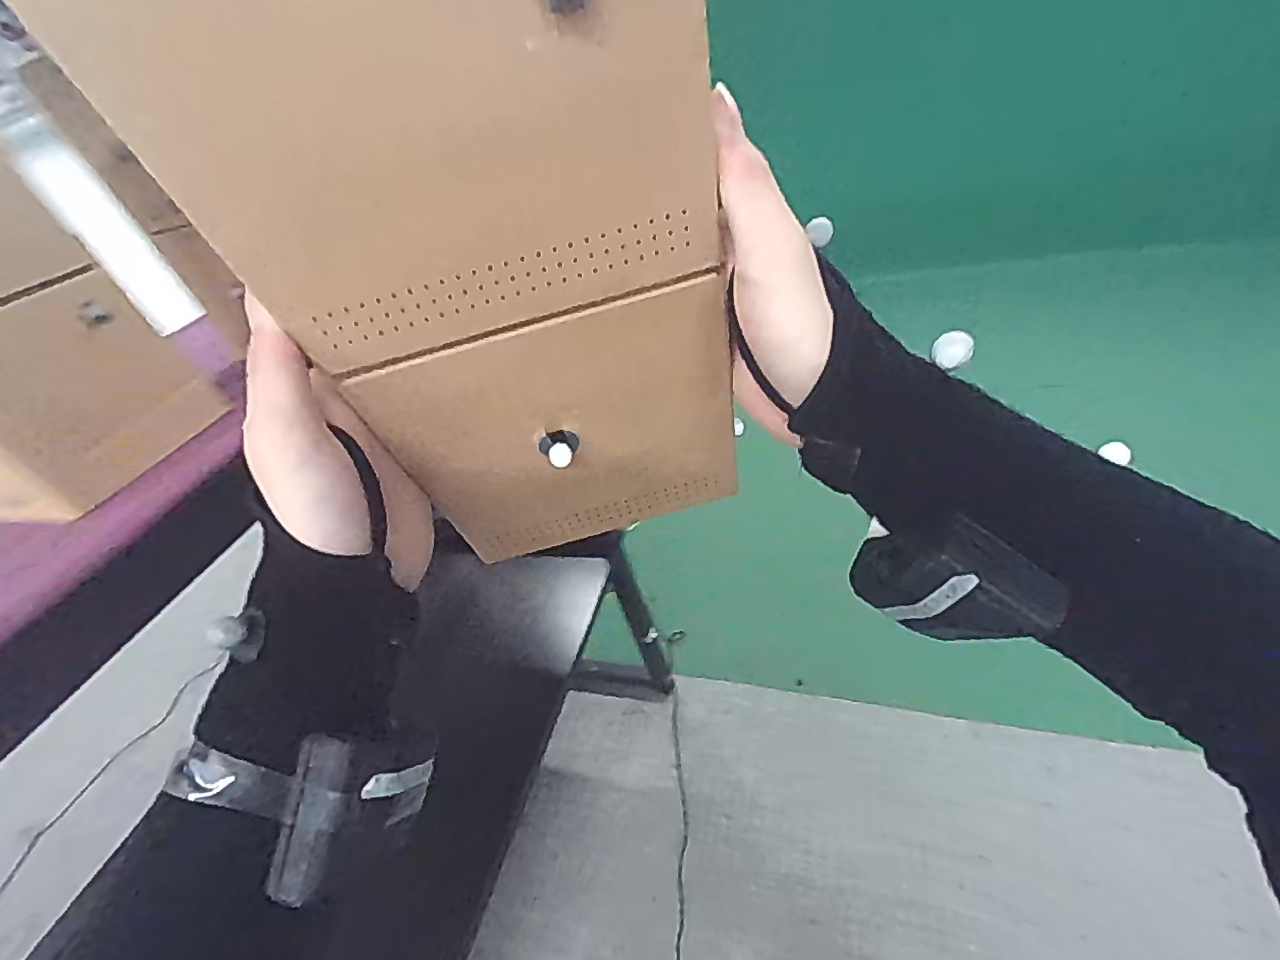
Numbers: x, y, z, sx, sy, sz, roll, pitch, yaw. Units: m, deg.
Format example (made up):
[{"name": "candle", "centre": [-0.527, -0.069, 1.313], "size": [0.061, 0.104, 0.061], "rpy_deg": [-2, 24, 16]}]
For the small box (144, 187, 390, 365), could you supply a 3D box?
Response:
[{"name": "small box", "centre": [-0.482, -0.265, 0.728], "size": [0.168, 0.176, 0.179], "rpy_deg": [2, 42, 24]}]

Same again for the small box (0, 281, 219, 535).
[{"name": "small box", "centre": [-0.568, -0.062, 0.513], "size": [0.168, 0.176, 0.179], "rpy_deg": [-2, 40, 21]}]

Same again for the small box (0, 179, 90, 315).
[{"name": "small box", "centre": [-0.611, -0.187, 0.415], "size": [0.168, 0.176, 0.179], "rpy_deg": [-1, 40, 21]}]
